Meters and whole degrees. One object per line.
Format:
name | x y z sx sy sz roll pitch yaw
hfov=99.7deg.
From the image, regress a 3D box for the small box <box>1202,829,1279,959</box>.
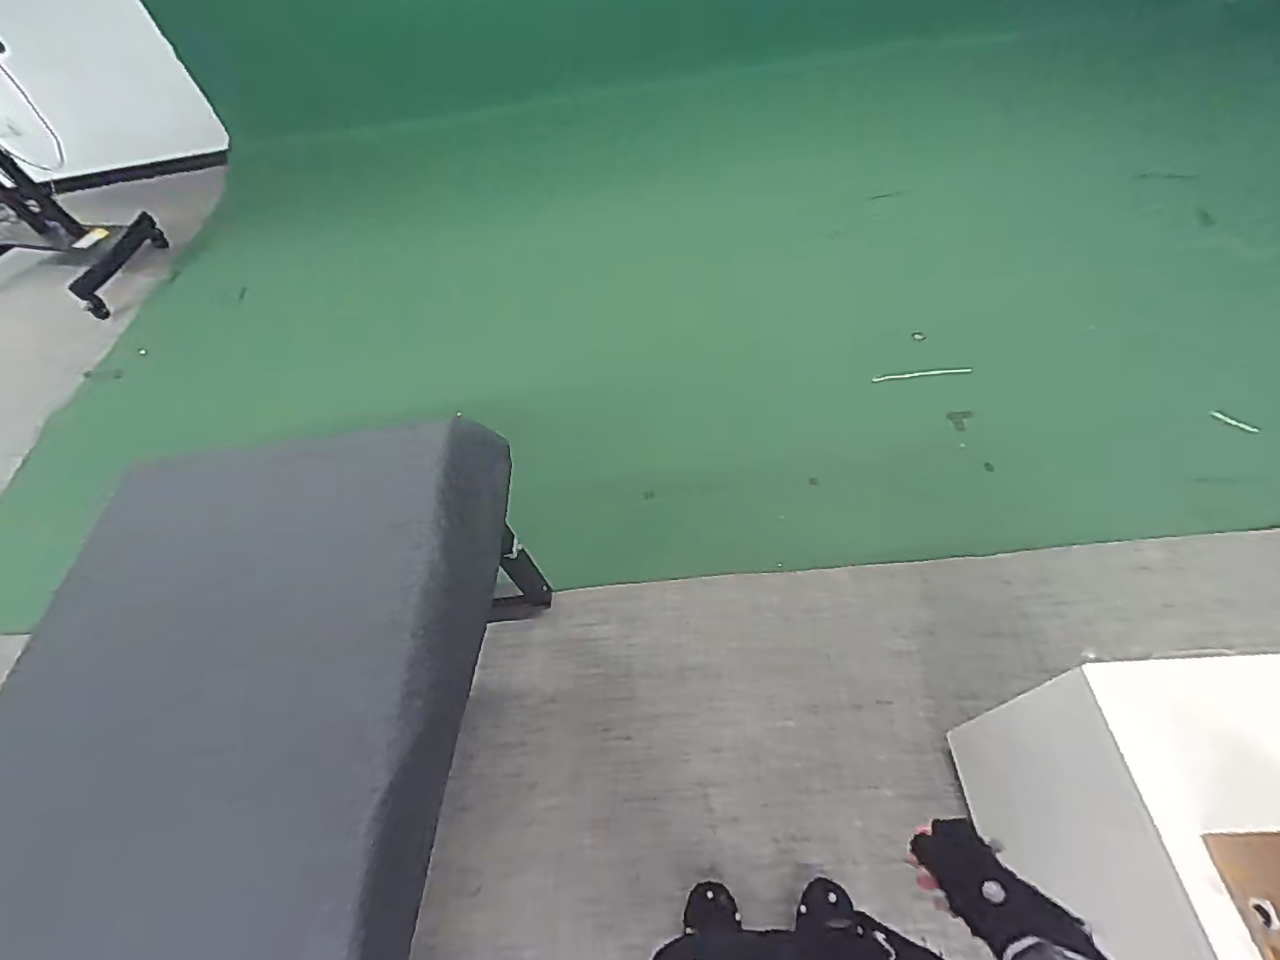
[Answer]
small box | 0.705 0.415 0.494 0.179 0.176 0.168 -8 55 6
